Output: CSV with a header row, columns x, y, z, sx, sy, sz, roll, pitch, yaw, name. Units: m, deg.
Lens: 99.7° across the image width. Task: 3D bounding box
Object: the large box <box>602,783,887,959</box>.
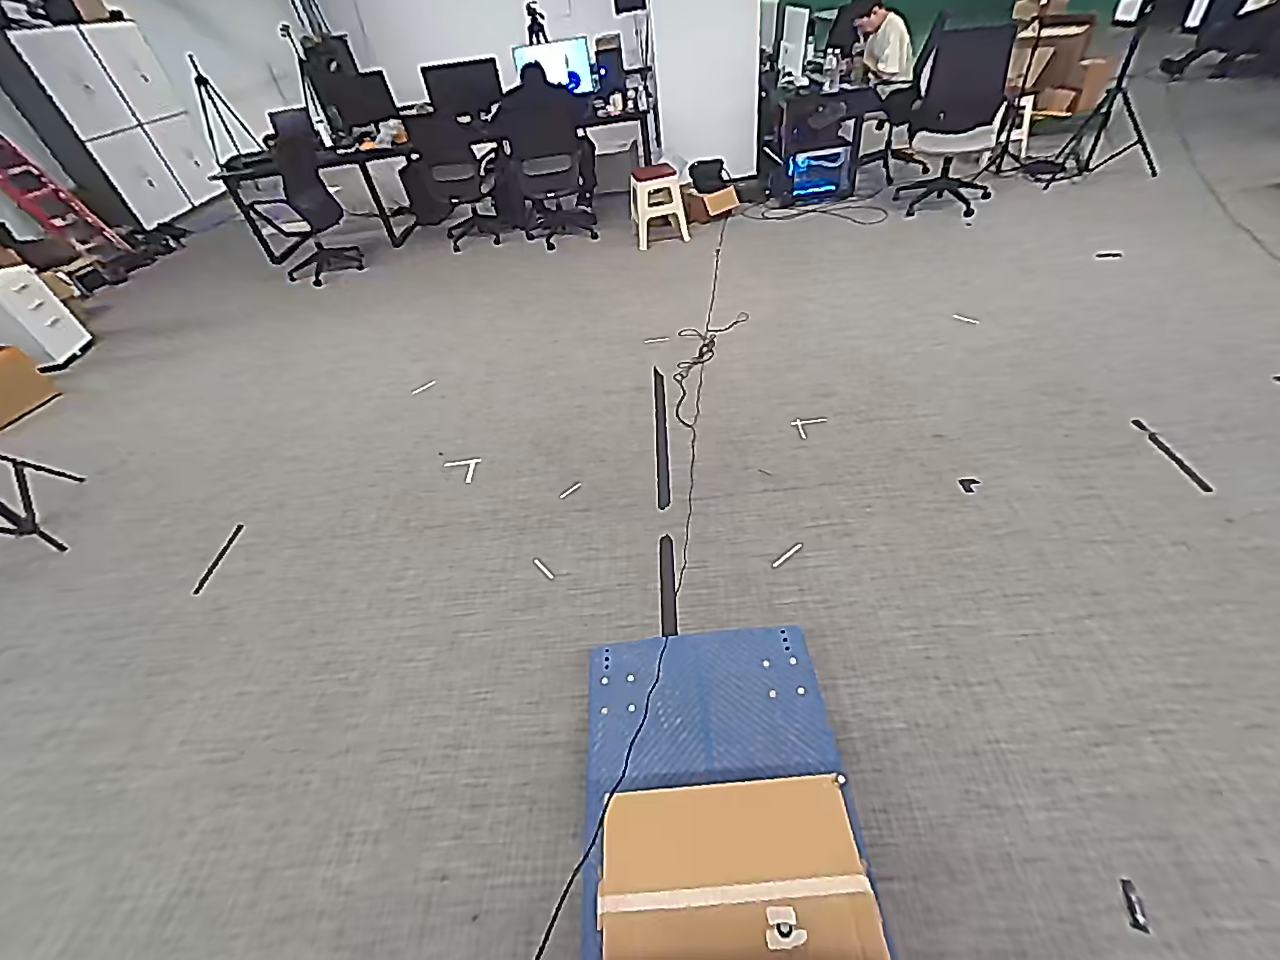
x,y,z,sx,sy,sz,roll,pitch,yaw,name
0.158,0.749,0.905,0.408,0.320,0.320,-7,42,3,large box
